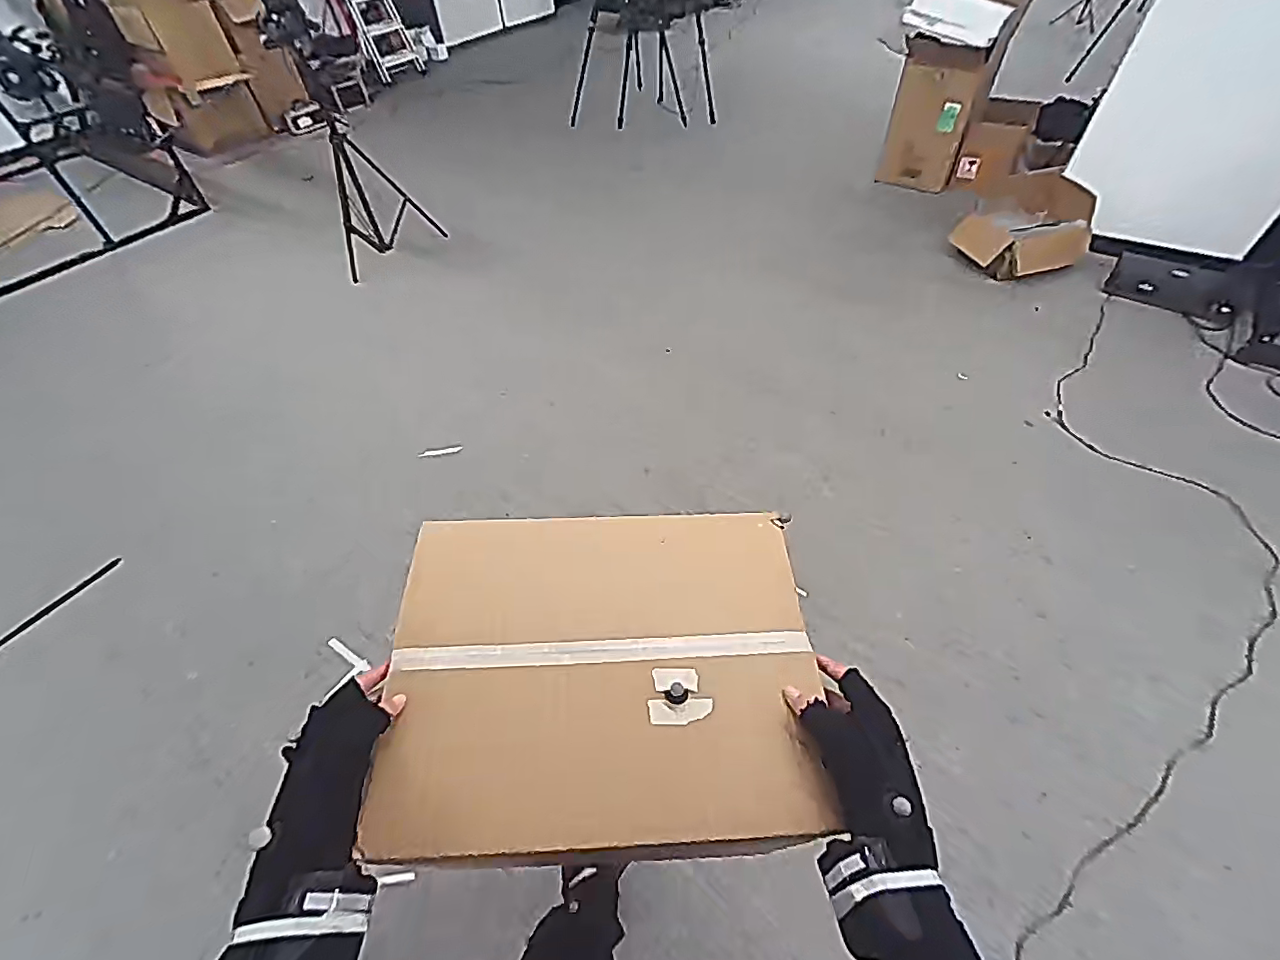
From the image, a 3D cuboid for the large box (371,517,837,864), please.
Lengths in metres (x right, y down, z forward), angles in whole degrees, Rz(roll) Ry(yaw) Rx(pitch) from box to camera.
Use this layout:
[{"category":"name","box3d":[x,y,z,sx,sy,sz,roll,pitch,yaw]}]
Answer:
[{"category":"large box","box3d":[-0.039,0.261,0.661,0.408,0.320,0.320,-1,53,-3]}]
